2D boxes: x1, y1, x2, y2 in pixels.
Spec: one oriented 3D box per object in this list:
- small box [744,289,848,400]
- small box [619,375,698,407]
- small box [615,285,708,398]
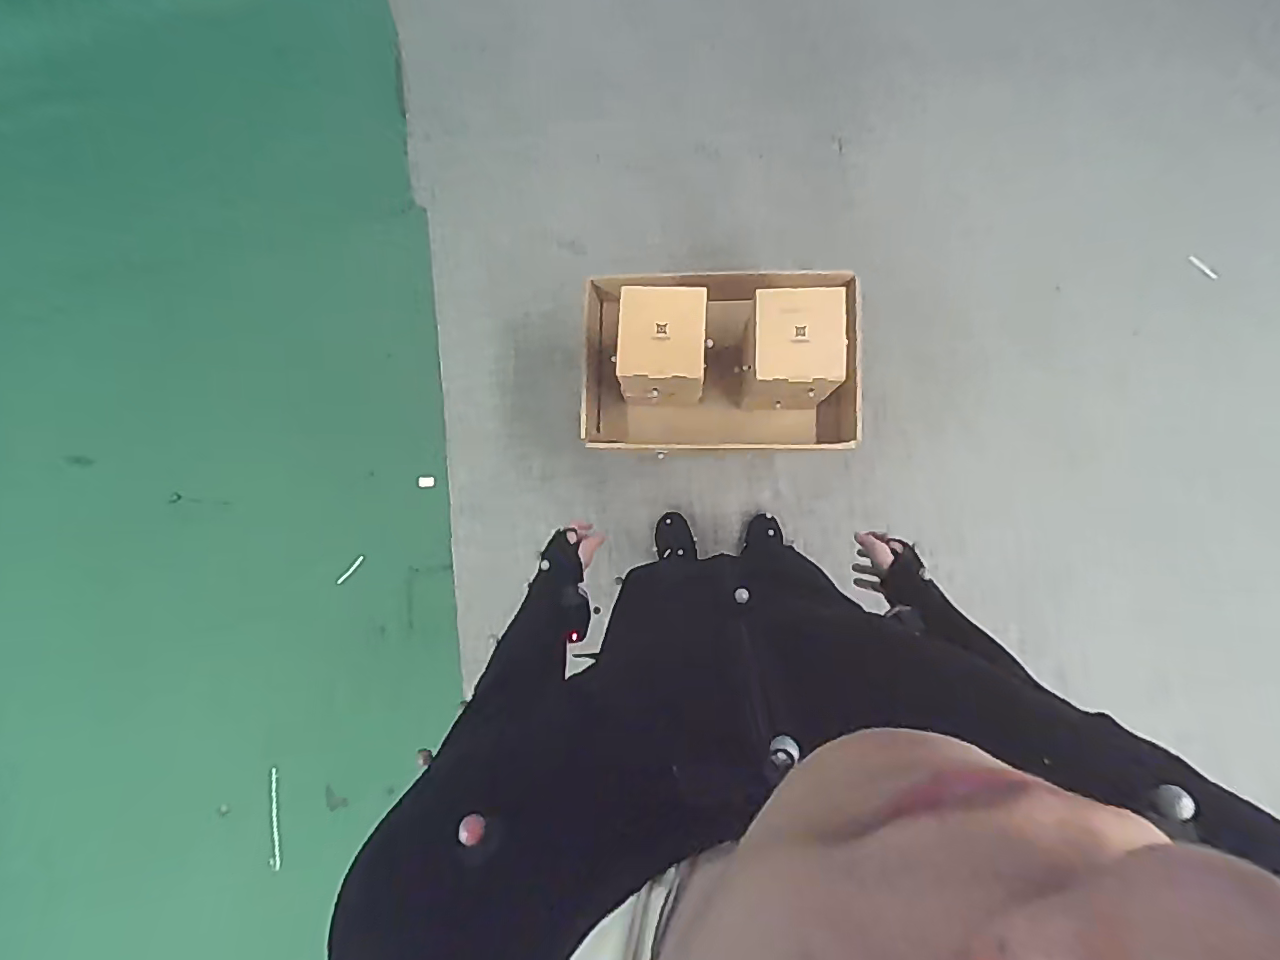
[{"bbox_3d":[0.299,-0.258,1.062,0.168,0.176,0.179,2,86,4],"label":"small box"},{"bbox_3d":[0.050,-0.266,1.250,0.179,0.176,0.168,2,87,4],"label":"small box"},{"bbox_3d":[0.044,-0.272,1.087,0.168,0.176,0.179,3,87,4],"label":"small box"}]
